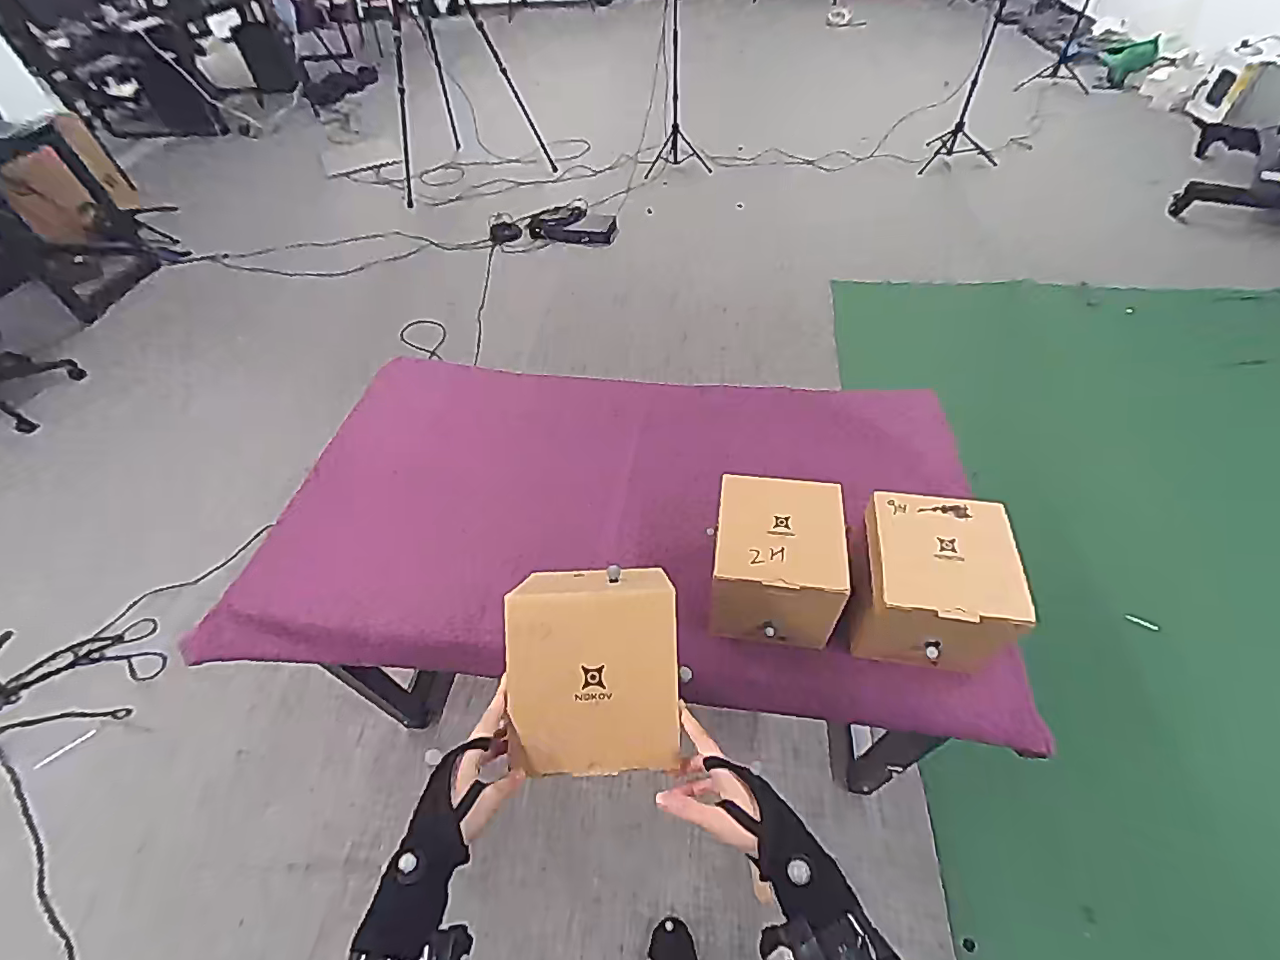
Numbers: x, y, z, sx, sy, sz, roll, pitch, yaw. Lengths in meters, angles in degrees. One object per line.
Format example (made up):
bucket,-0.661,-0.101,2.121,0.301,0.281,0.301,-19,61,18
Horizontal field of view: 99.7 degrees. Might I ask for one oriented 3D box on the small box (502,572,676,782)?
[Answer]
small box,-0.052,0.197,0.593,0.168,0.176,0.179,-2,89,-2
